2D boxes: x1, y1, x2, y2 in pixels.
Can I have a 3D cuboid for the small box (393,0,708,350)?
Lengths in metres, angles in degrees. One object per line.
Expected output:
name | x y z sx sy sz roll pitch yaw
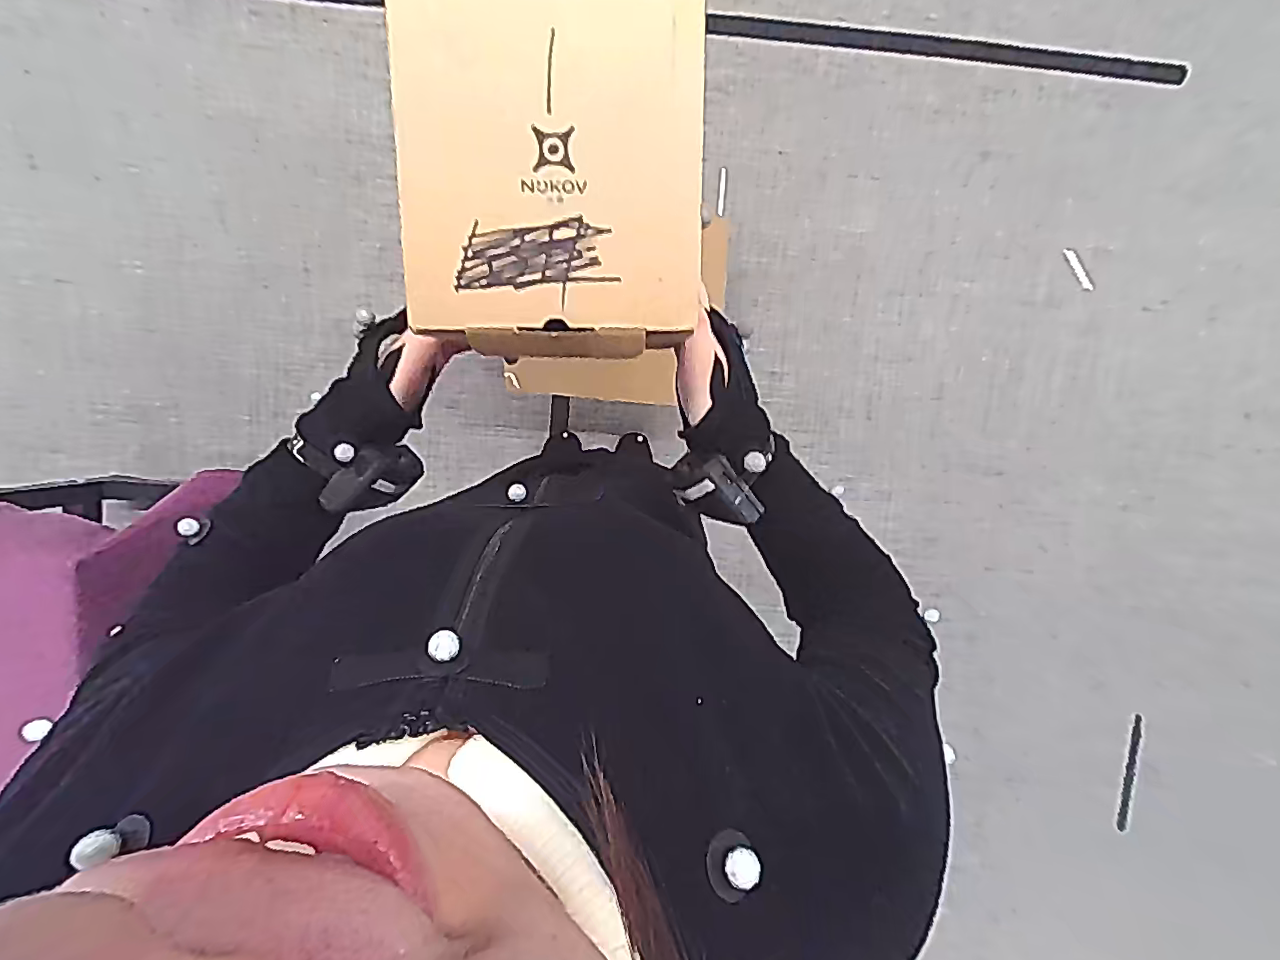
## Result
small box | -0.050 -0.183 0.373 0.168 0.176 0.179 0 100 -3
